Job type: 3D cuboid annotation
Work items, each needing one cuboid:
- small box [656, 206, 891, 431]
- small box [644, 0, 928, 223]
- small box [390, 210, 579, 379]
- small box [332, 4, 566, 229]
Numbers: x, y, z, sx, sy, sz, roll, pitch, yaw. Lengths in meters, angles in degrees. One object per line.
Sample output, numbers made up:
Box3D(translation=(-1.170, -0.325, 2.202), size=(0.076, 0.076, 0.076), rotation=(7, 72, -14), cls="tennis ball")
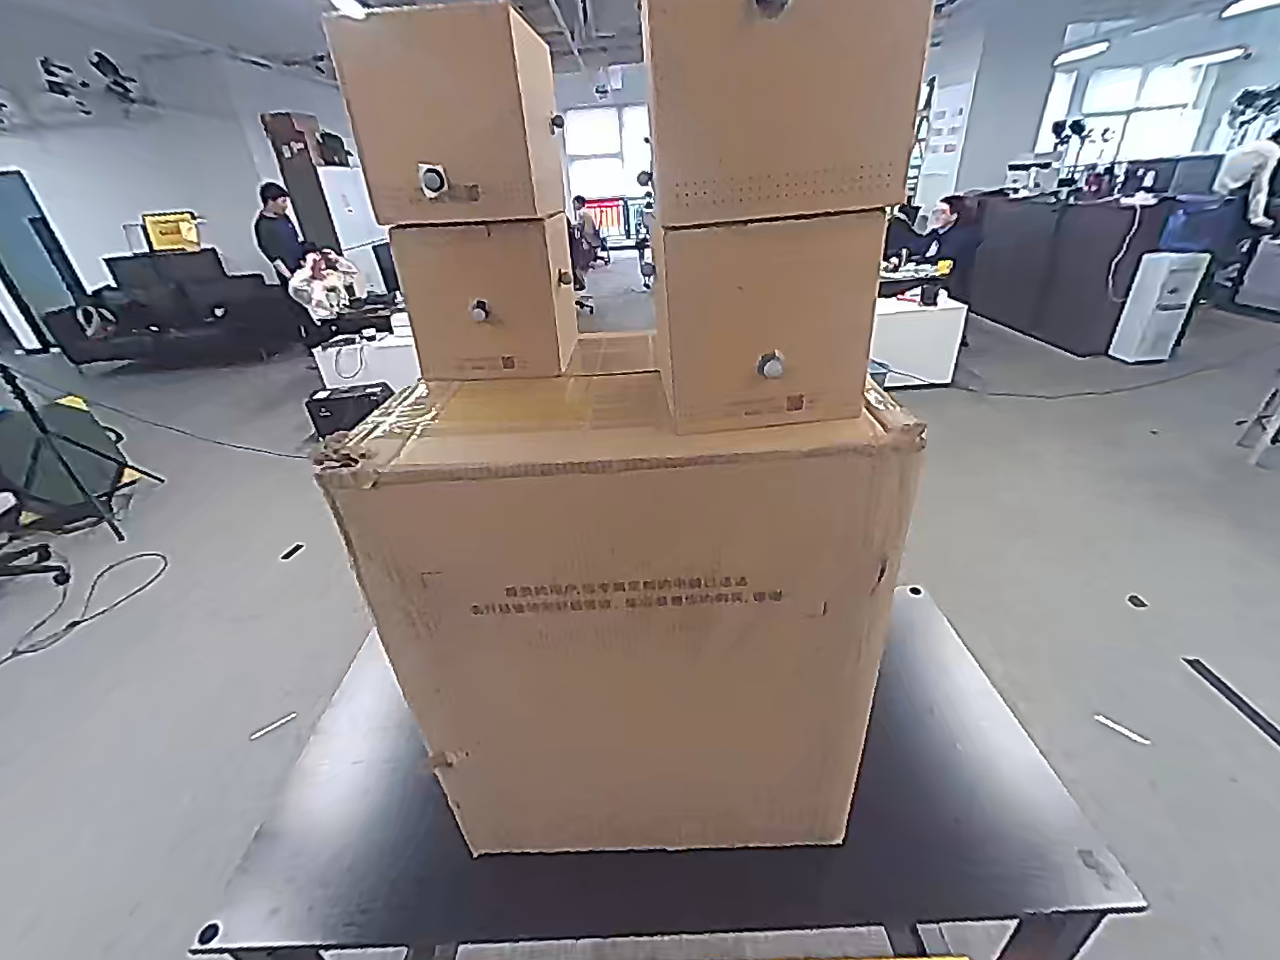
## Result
Box3D(translation=(0.104, -0.159, 0.503), size=(0.168, 0.176, 0.179), rotation=(-6, 30, 1), cls="small box")
Box3D(translation=(0.097, -0.295, 0.410), size=(0.179, 0.176, 0.168), rotation=(-4, 31, 2), cls="small box")
Box3D(translation=(-0.170, -0.227, 0.659), size=(0.168, 0.176, 0.179), rotation=(-2, 30, 1), cls="small box")
Box3D(translation=(-0.175, -0.362, 0.565), size=(0.168, 0.176, 0.179), rotation=(-2, 30, 3), cls="small box")
